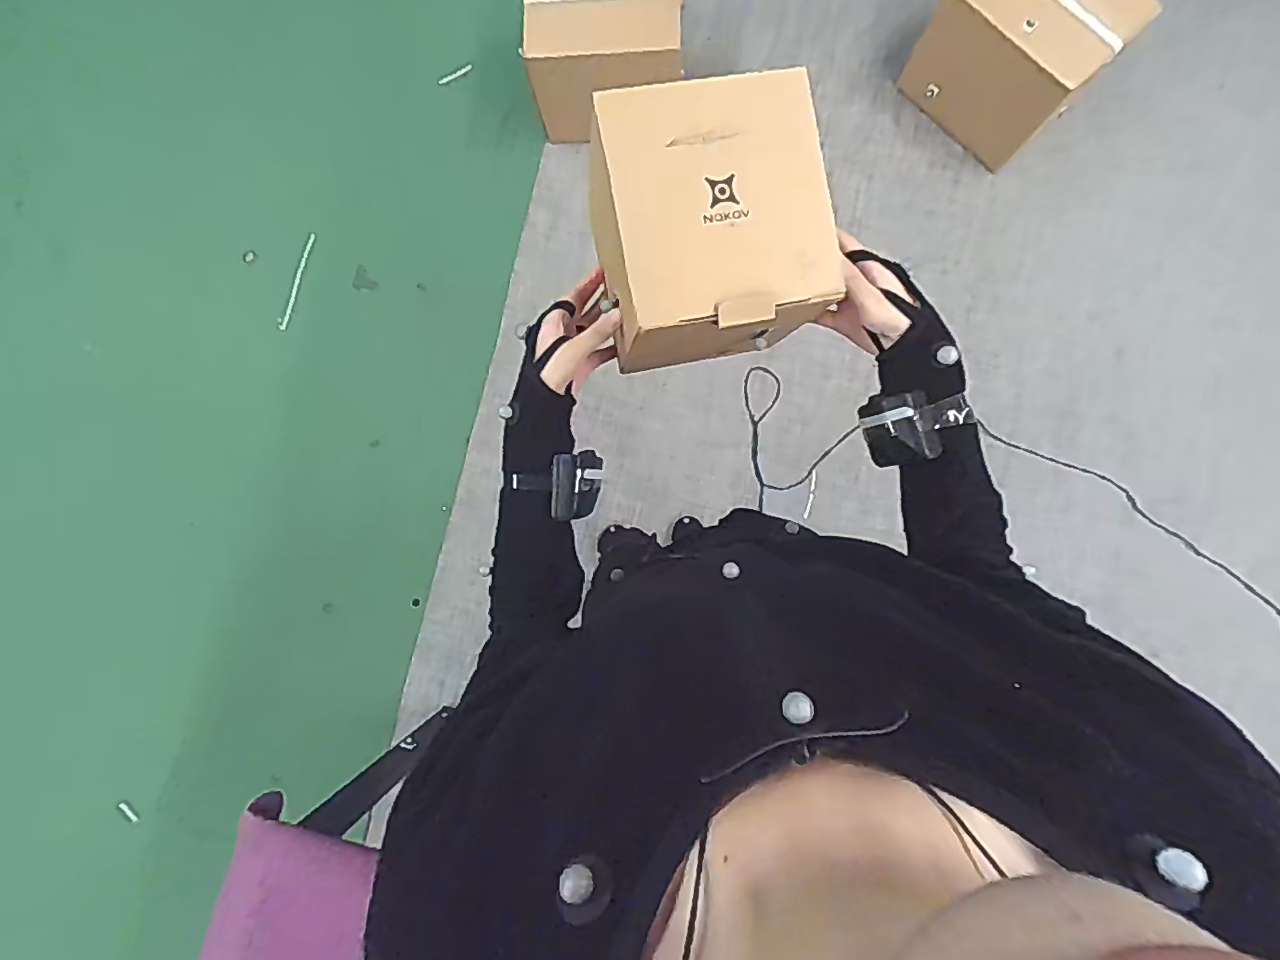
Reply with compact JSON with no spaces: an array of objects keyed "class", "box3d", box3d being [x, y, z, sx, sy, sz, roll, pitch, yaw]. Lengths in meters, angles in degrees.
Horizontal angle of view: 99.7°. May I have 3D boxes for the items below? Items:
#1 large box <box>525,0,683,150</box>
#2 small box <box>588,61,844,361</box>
[{"class":"large box","box3d":[-0.085,-1.190,1.528,0.408,0.320,0.320,-1,83,4]},{"class":"small box","box3d":[0.050,-0.209,0.471,0.168,0.176,0.179,-11,90,-7]}]
